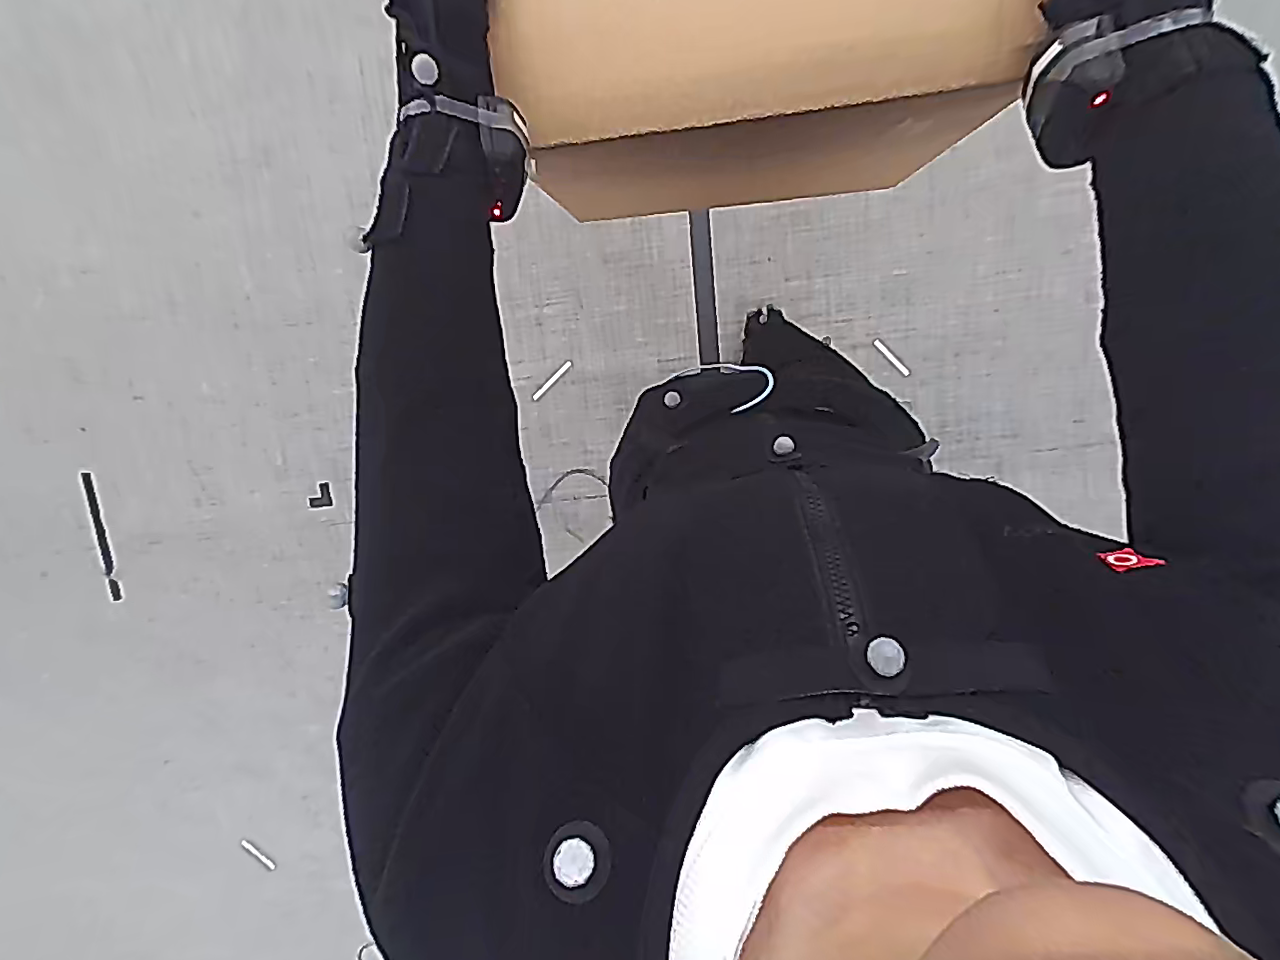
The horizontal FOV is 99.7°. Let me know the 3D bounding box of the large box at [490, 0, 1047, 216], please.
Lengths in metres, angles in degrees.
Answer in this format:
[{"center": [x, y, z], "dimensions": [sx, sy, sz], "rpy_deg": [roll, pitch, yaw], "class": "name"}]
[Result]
[{"center": [0.087, -0.470, 0.513], "dimensions": [0.408, 0.320, 0.320], "rpy_deg": [-4, 106, 6], "class": "large box"}]
